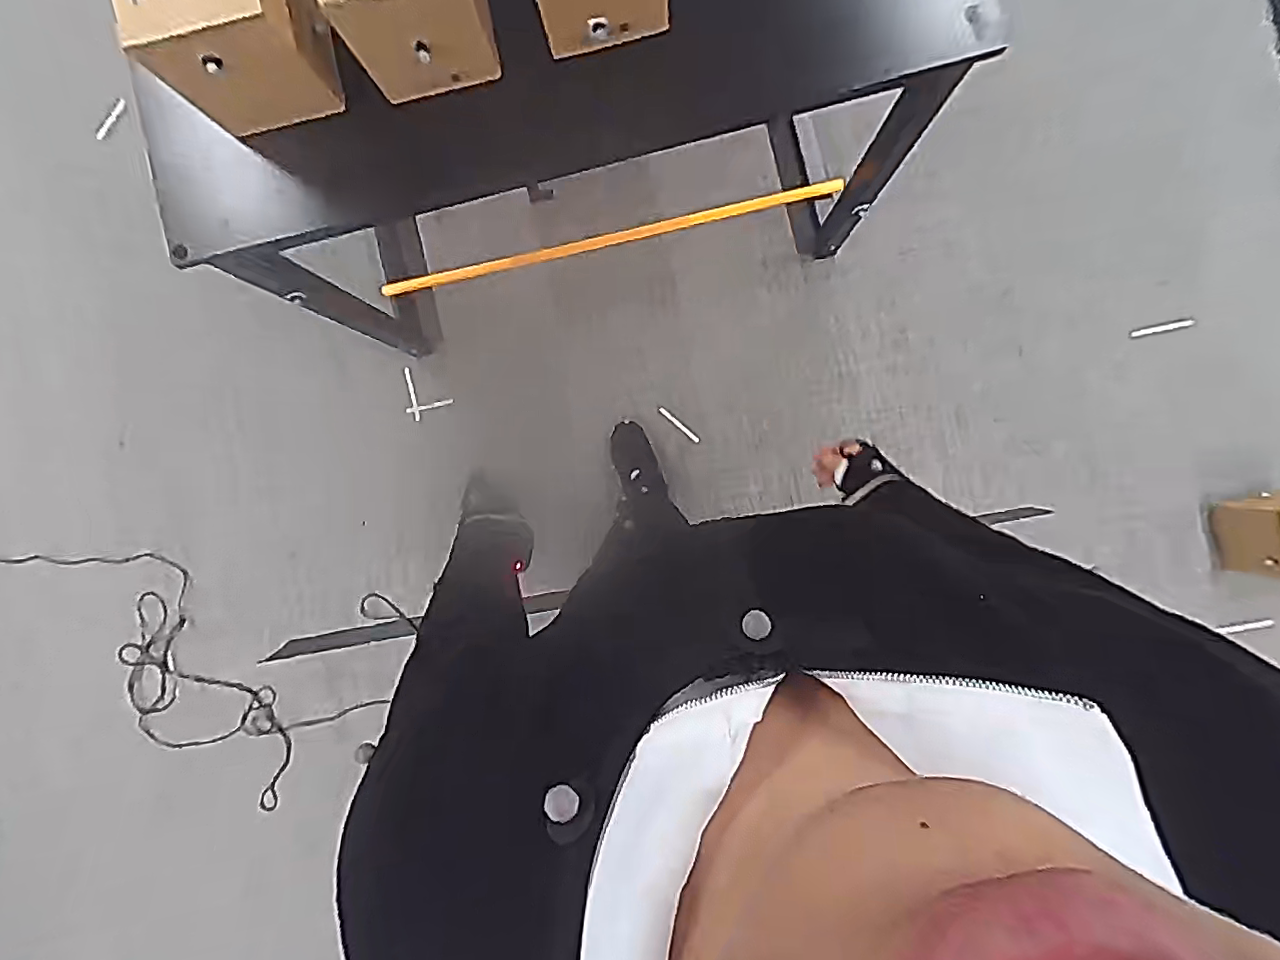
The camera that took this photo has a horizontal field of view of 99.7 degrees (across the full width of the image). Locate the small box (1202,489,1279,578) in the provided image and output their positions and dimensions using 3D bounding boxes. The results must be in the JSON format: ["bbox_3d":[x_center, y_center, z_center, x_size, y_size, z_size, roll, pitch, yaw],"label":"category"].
[{"bbox_3d":[1.556,0.126,1.328,0.168,0.176,0.179,-13,91,3],"label":"small box"}]

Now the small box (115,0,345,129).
[{"bbox_3d":[-0.525,-0.596,0.701,0.179,0.176,0.168,-12,90,2],"label":"small box"}]

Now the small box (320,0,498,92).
[{"bbox_3d":[-0.296,-0.639,0.690,0.168,0.176,0.179,-11,91,3],"label":"small box"}]

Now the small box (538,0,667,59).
[{"bbox_3d":[-0.064,-0.690,0.678,0.168,0.176,0.179,-13,91,4],"label":"small box"}]
